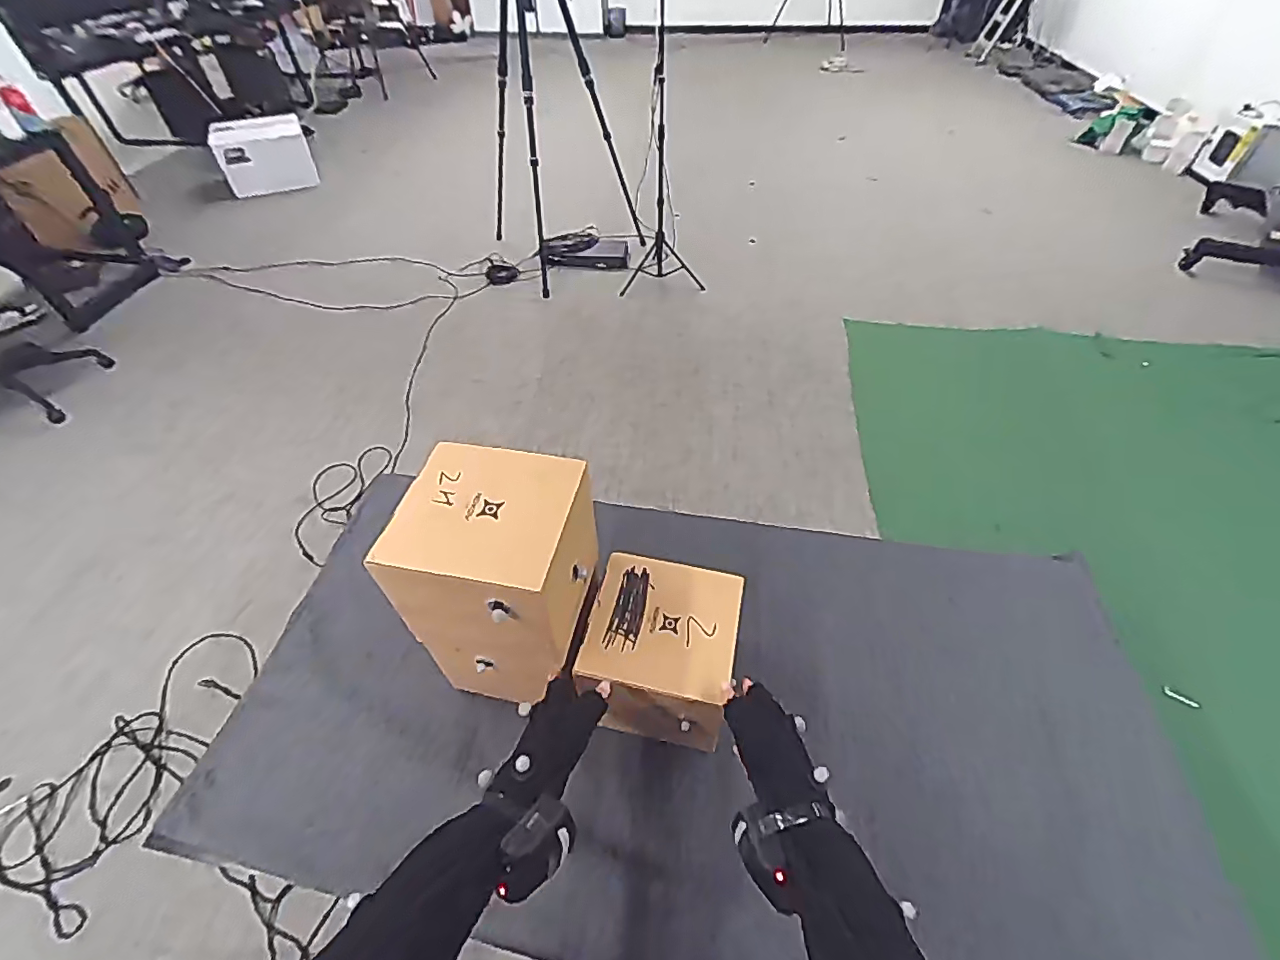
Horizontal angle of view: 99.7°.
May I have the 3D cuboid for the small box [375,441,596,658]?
[{"bbox_3d":[-0.153,0.082,0.611,0.179,0.176,0.168,8,48,7],"label":"small box"}]
